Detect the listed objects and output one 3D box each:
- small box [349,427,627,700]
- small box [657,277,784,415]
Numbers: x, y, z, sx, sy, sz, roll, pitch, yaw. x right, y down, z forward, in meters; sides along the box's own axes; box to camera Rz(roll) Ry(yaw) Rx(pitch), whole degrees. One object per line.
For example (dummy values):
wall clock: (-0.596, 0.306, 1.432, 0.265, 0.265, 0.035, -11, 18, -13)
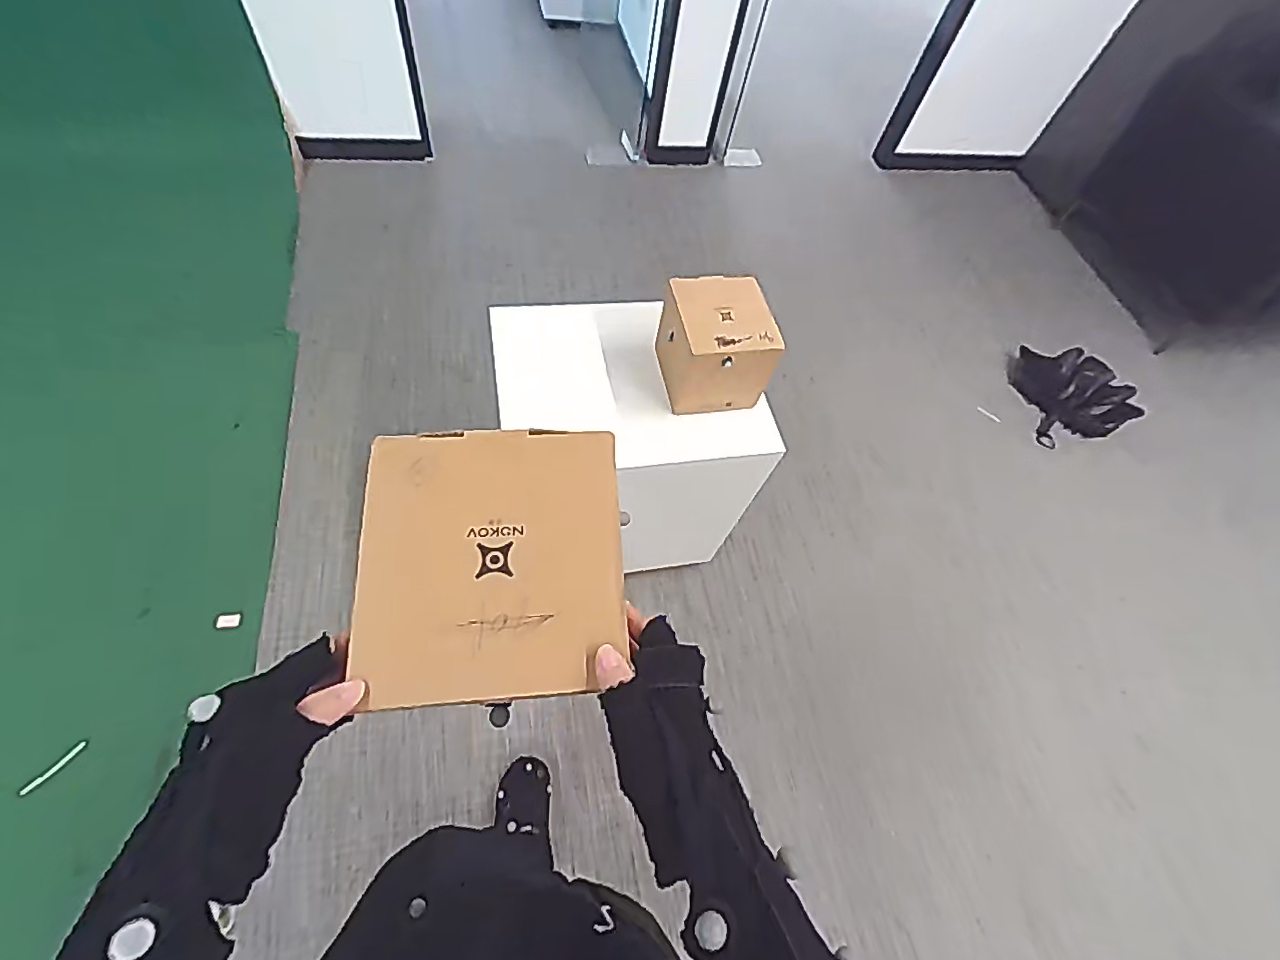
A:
small box: (-0.103, 0.074, 0.426, 0.168, 0.176, 0.179, -3, 69, -7)
small box: (0.135, -0.243, 0.989, 0.168, 0.176, 0.179, -8, 61, -12)
